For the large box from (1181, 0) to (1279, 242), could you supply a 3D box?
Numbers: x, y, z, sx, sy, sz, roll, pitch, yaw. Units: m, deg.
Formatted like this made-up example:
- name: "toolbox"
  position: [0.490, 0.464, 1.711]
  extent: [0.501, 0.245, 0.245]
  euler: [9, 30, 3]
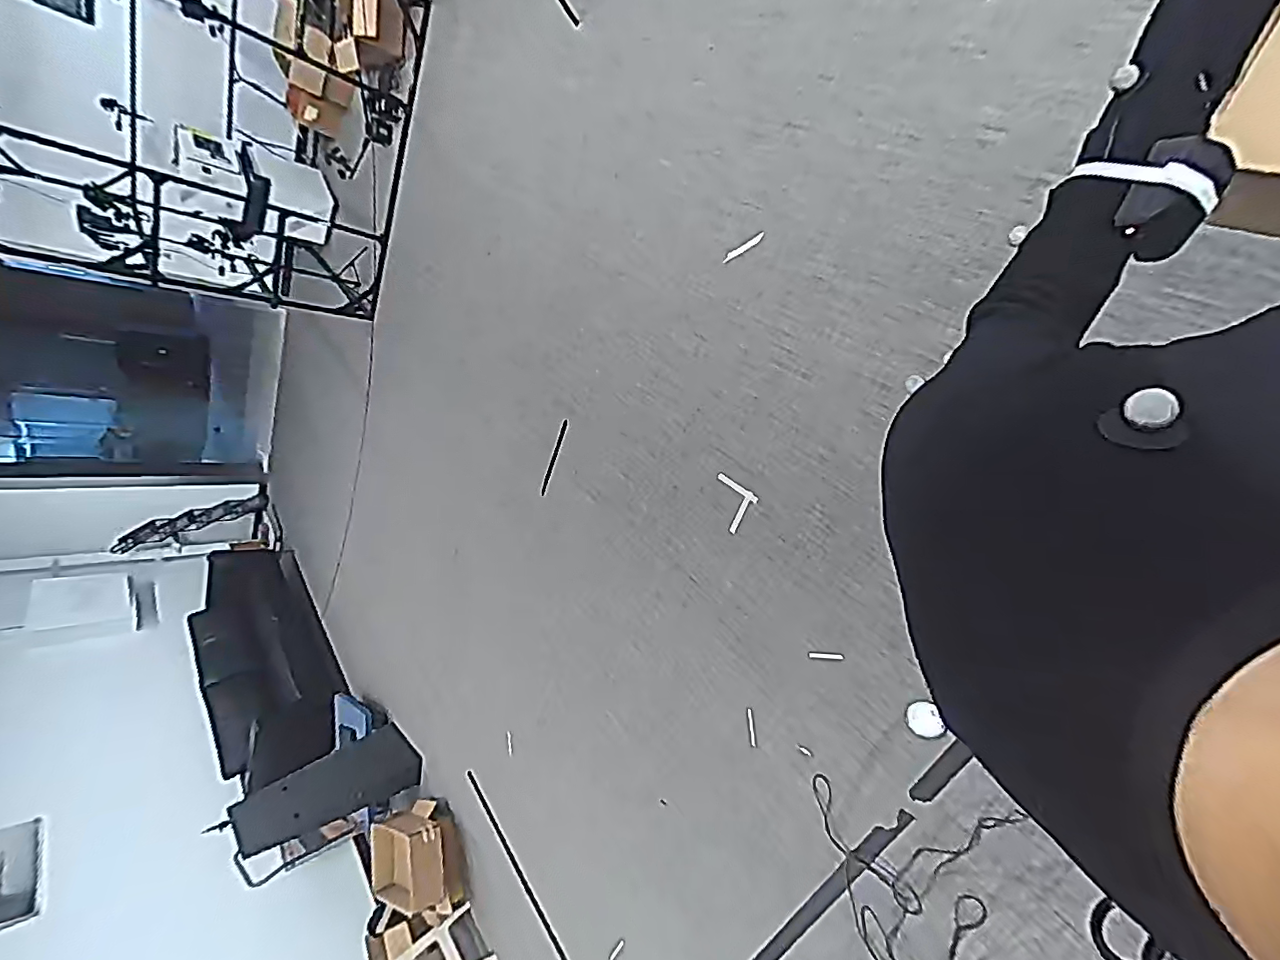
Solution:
- name: "large box"
  position: [0.676, -0.304, 0.332]
  extent: [0.408, 0.320, 0.320]
  euler: [34, 124, 34]
